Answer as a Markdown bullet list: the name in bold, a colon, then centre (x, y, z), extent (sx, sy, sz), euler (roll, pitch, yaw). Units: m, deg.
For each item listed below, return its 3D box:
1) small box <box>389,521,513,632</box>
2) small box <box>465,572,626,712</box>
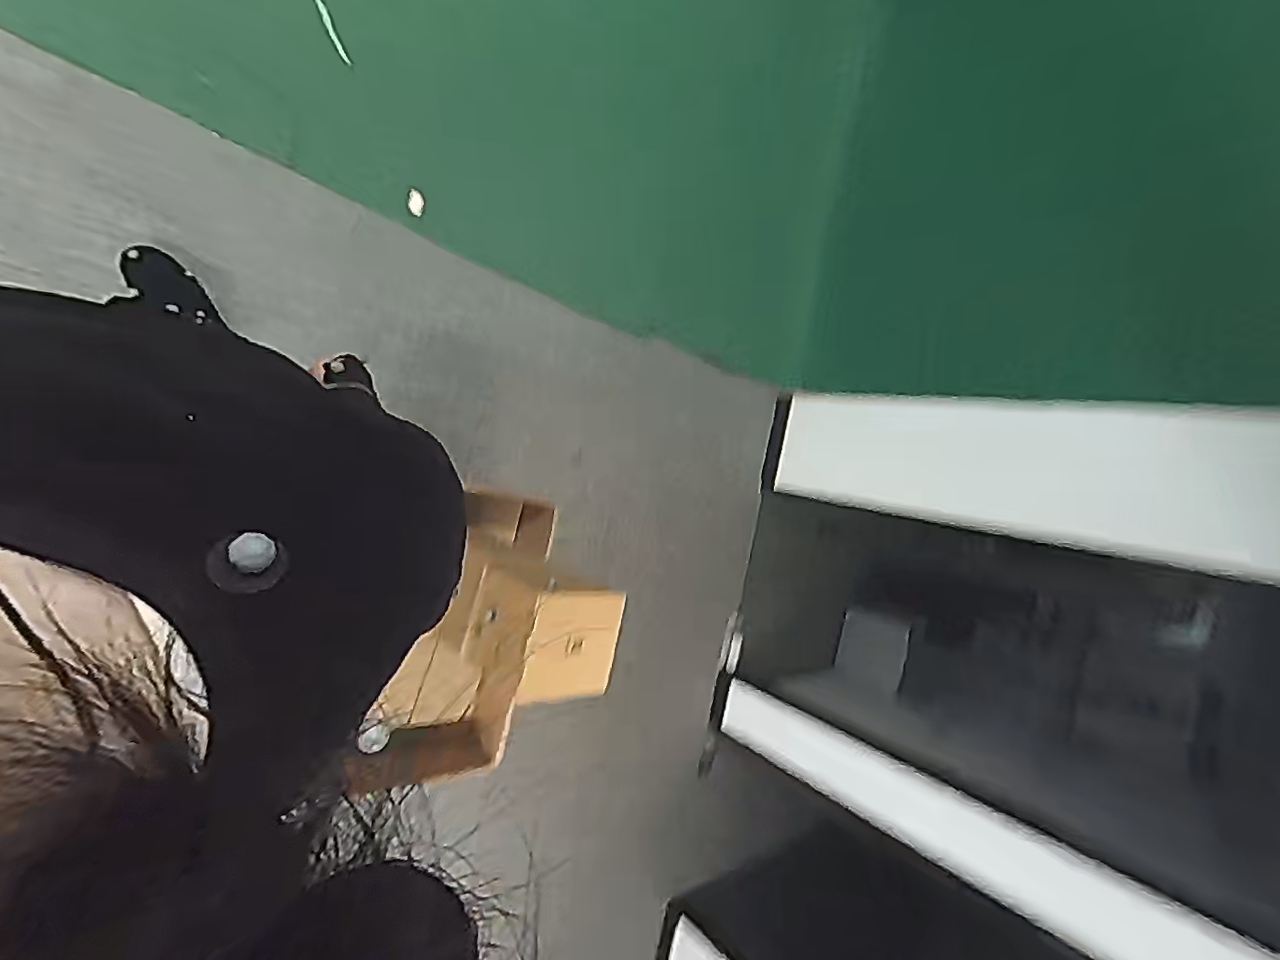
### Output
- **small box**: centre (-0.390, 0.196, 1.103), extent (0.168, 0.176, 0.179), euler (17, 87, -44)
- **small box**: centre (-0.156, 0.253, 0.882), extent (0.179, 0.176, 0.168), euler (13, 89, -43)
